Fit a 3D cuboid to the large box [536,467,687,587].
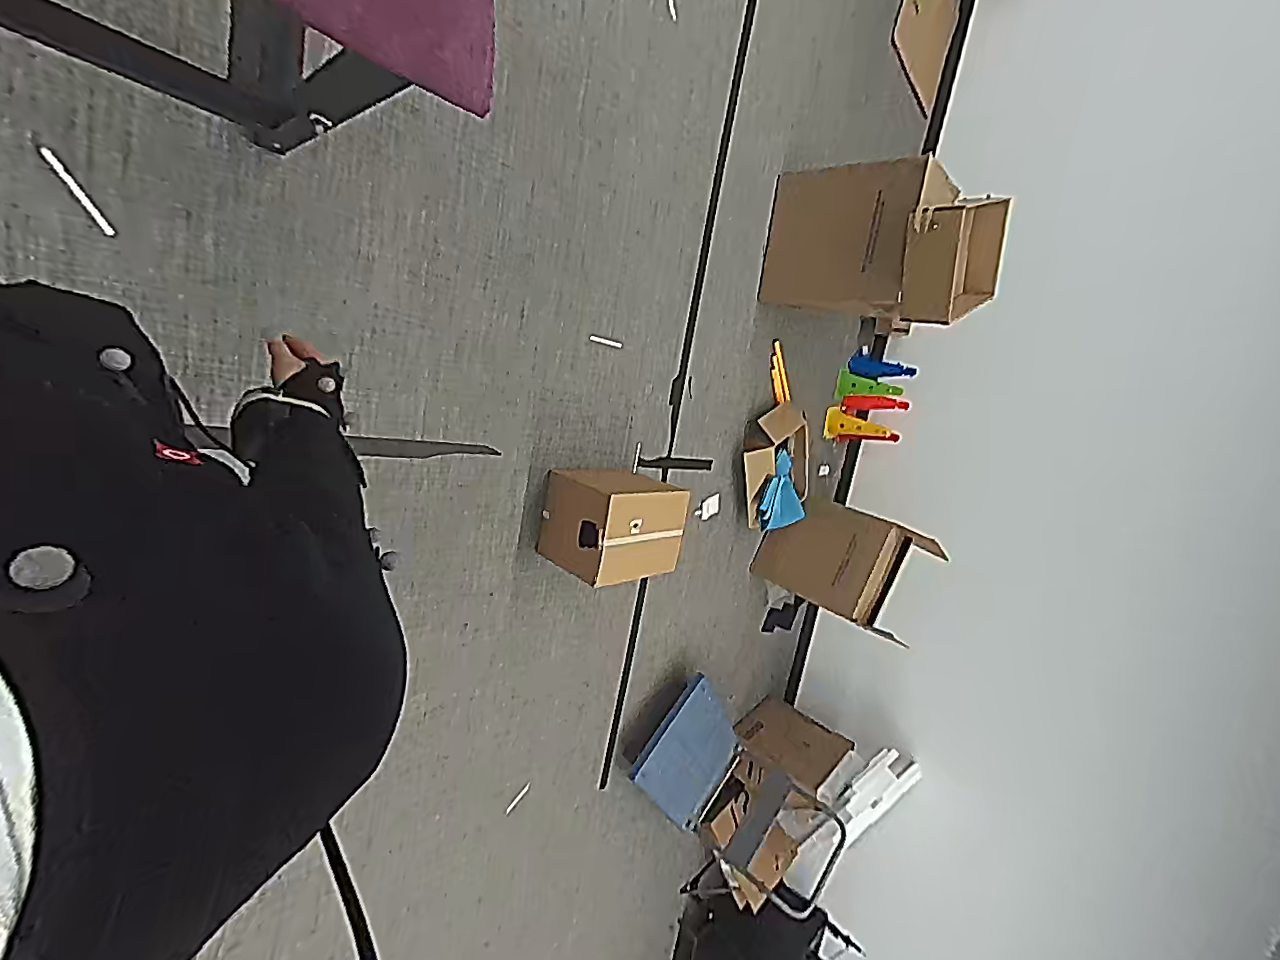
[{"bbox_3d":[-0.099,0.143,1.904,0.408,0.320,0.320,-2,106,-47],"label":"large box"}]
